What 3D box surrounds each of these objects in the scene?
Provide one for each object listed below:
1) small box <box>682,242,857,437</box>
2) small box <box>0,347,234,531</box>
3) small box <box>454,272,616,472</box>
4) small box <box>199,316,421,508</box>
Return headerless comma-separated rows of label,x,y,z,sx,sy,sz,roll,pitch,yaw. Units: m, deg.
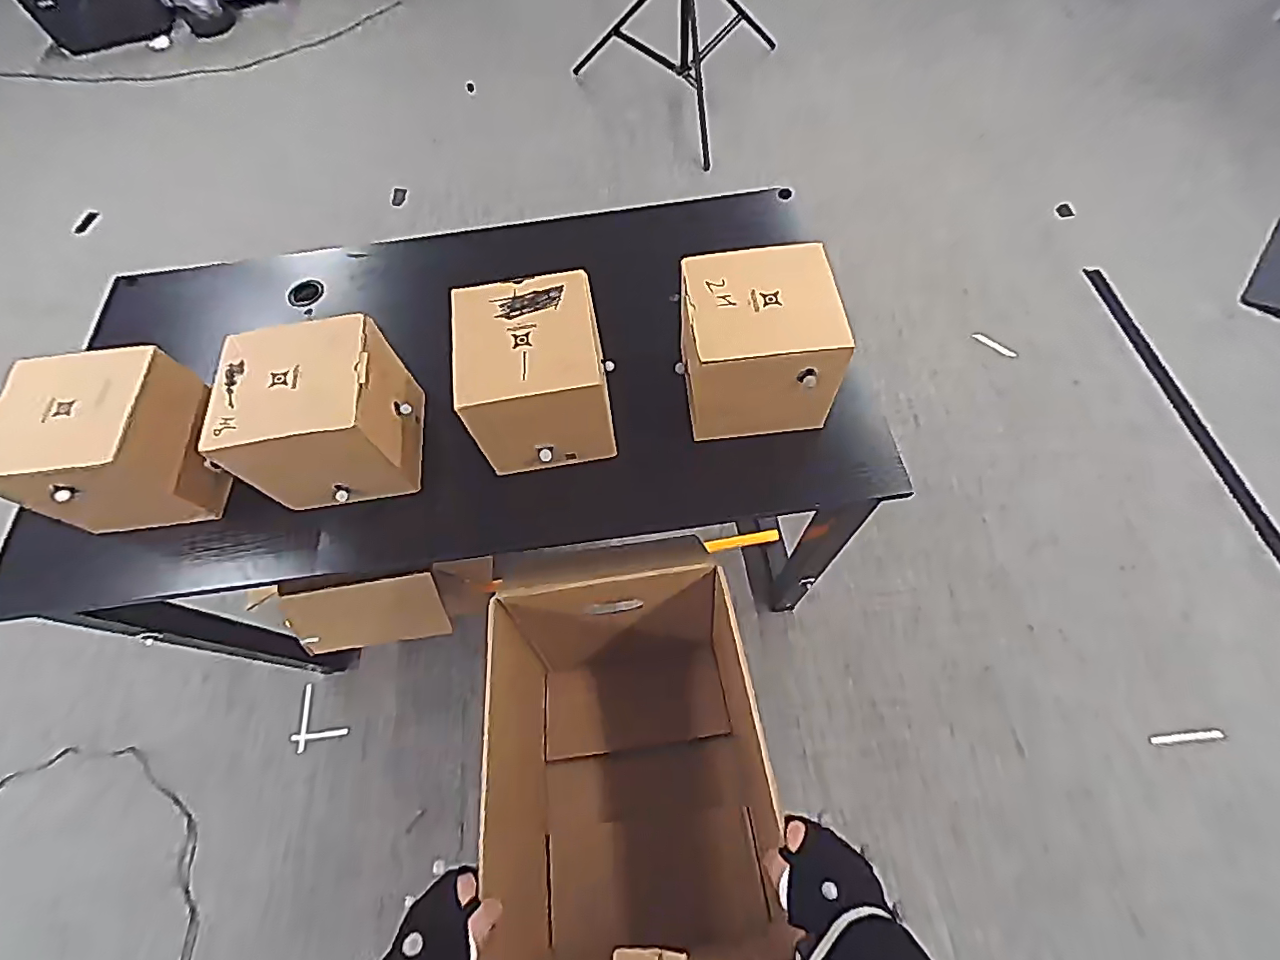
small box,0.149,-0.172,0.692,0.179,0.176,0.168,-6,62,2
small box,-0.656,-0.043,0.685,0.179,0.176,0.168,-6,64,0
small box,-0.128,-0.132,0.693,0.168,0.176,0.179,-10,64,-1
small box,-0.394,-0.078,0.686,0.179,0.176,0.168,-9,63,-2
